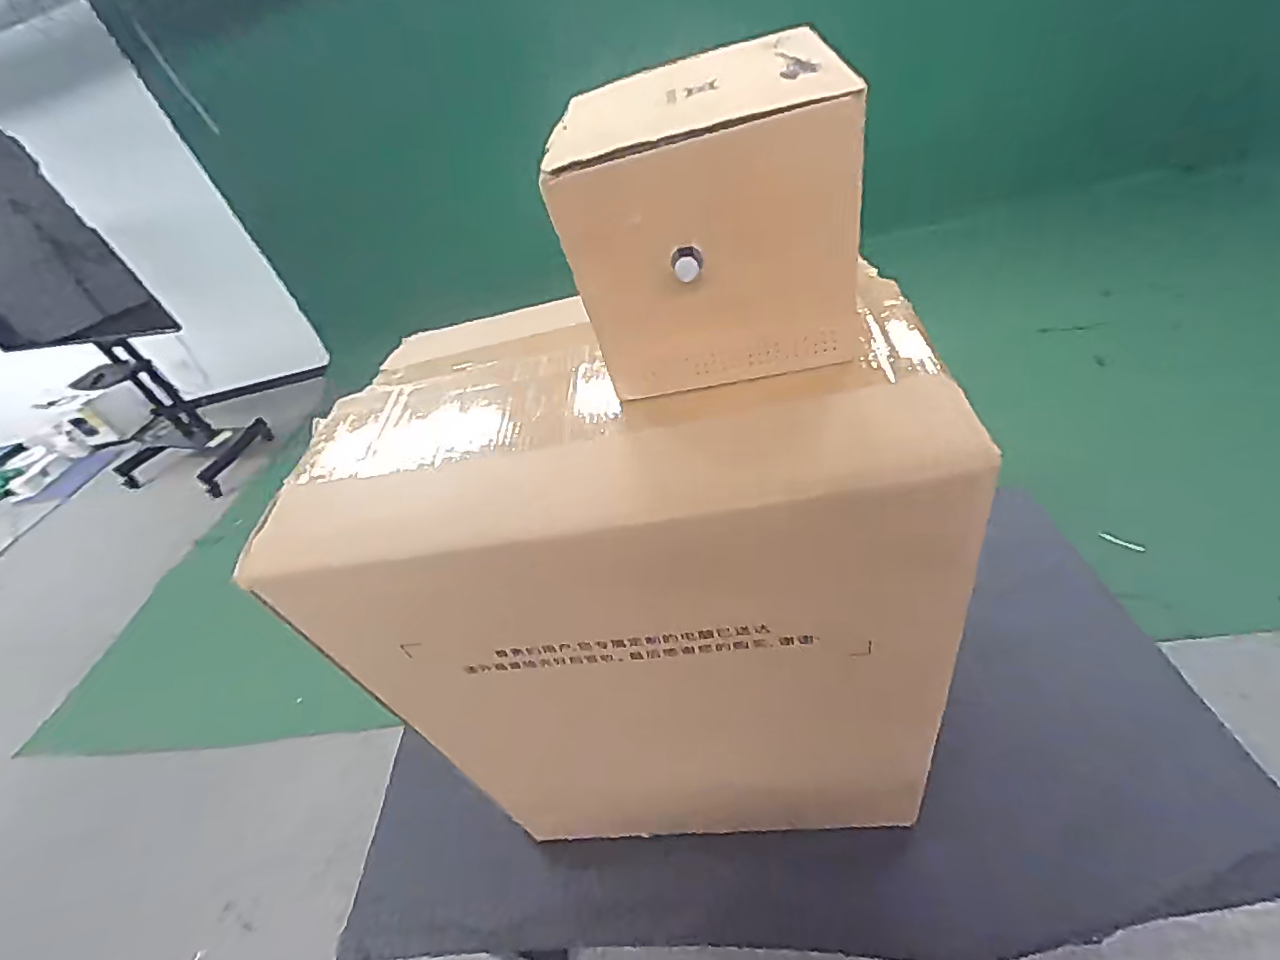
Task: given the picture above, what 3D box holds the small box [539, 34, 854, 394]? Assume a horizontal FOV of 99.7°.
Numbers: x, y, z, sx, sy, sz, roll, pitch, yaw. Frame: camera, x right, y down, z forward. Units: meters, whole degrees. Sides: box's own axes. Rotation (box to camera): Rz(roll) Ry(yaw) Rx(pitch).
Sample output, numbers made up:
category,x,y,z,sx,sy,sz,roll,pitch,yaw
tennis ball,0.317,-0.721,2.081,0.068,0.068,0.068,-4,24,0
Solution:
category,x,y,z,sx,sy,sz,roll,pitch,yaw
small box,0.049,-0.183,0.397,0.179,0.176,0.168,-9,47,12
